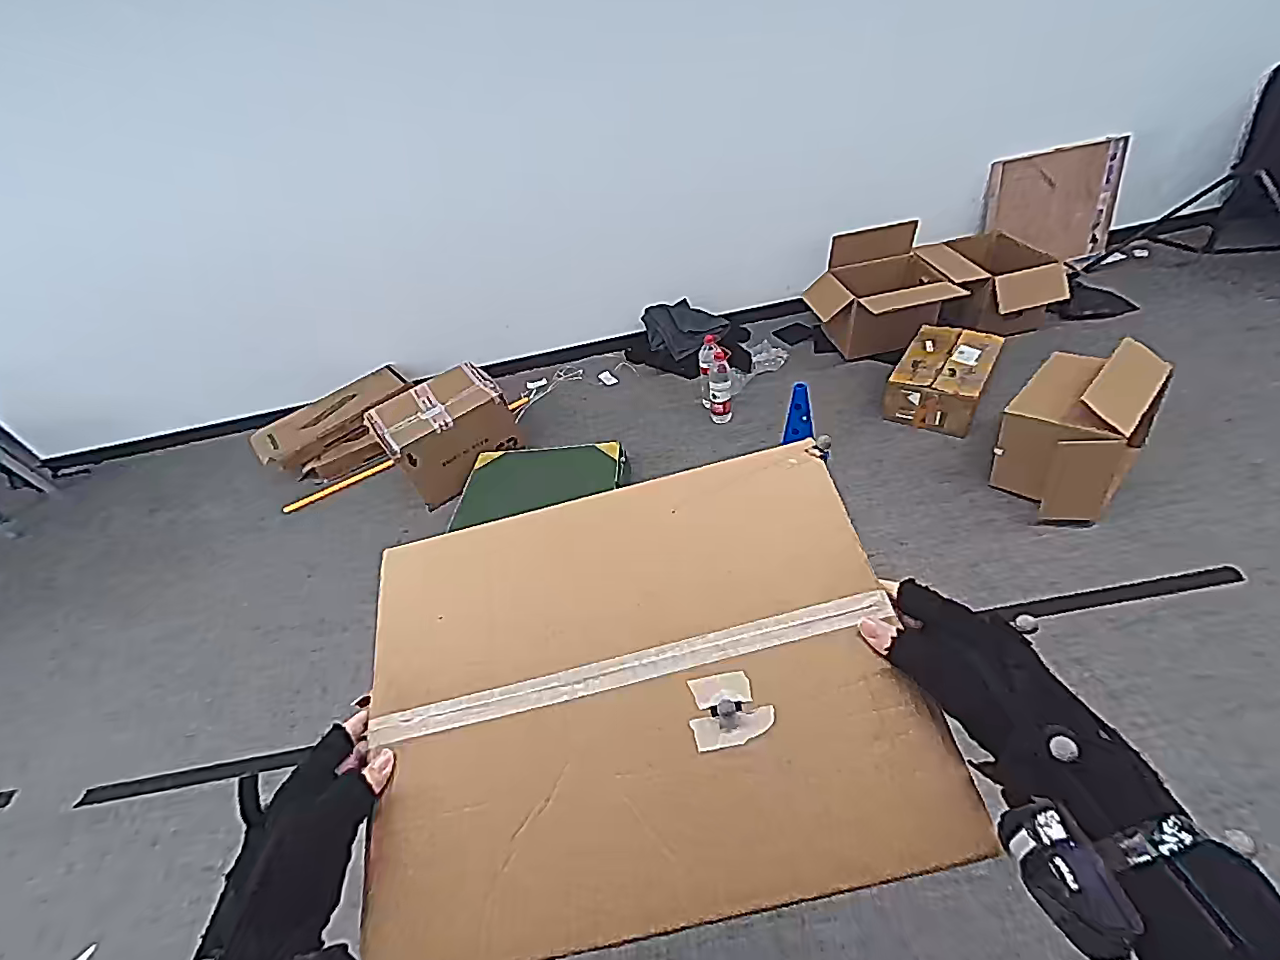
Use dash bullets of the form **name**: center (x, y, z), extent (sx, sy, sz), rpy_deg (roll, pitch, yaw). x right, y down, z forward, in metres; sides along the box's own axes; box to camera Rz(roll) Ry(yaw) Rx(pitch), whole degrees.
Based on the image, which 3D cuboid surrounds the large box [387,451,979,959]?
- **large box**: center (0.017, 0.225, 0.549), extent (0.408, 0.320, 0.320), rpy_deg (-15, 59, 1)
